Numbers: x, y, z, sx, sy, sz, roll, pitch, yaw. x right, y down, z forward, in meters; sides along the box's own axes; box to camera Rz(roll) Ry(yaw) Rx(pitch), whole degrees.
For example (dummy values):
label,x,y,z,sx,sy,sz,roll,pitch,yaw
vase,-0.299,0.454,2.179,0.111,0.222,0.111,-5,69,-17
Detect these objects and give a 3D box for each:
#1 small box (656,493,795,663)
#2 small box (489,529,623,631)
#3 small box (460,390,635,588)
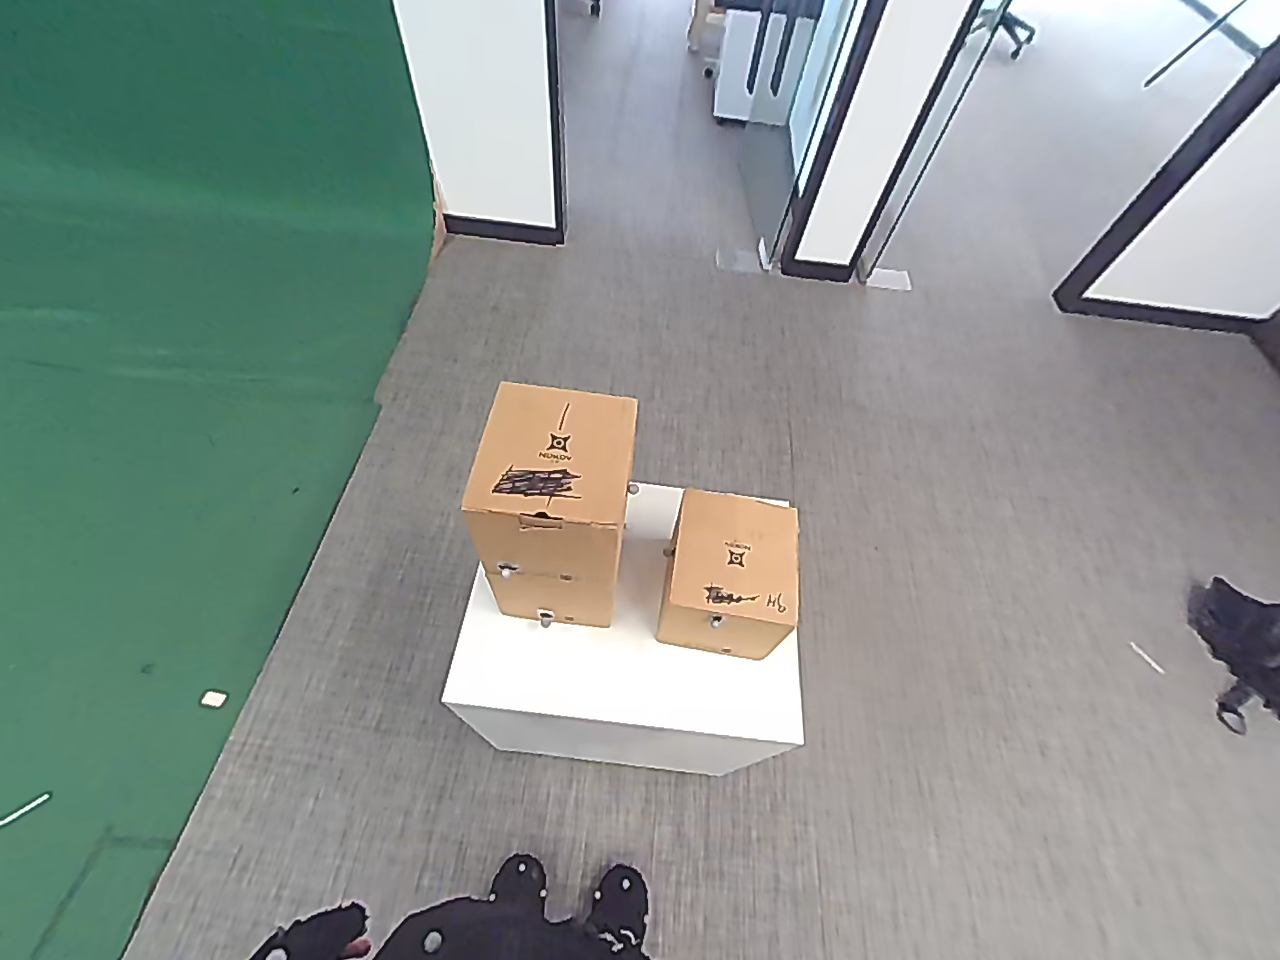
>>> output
label,x,y,z,sx,sy,sz,roll,pitch,yaw
small box,0.121,0.148,0.794,0.168,0.176,0.179,10,56,2
small box,-0.112,0.107,0.801,0.168,0.176,0.179,5,58,-1
small box,-0.101,0.017,0.664,0.168,0.176,0.179,7,56,0
